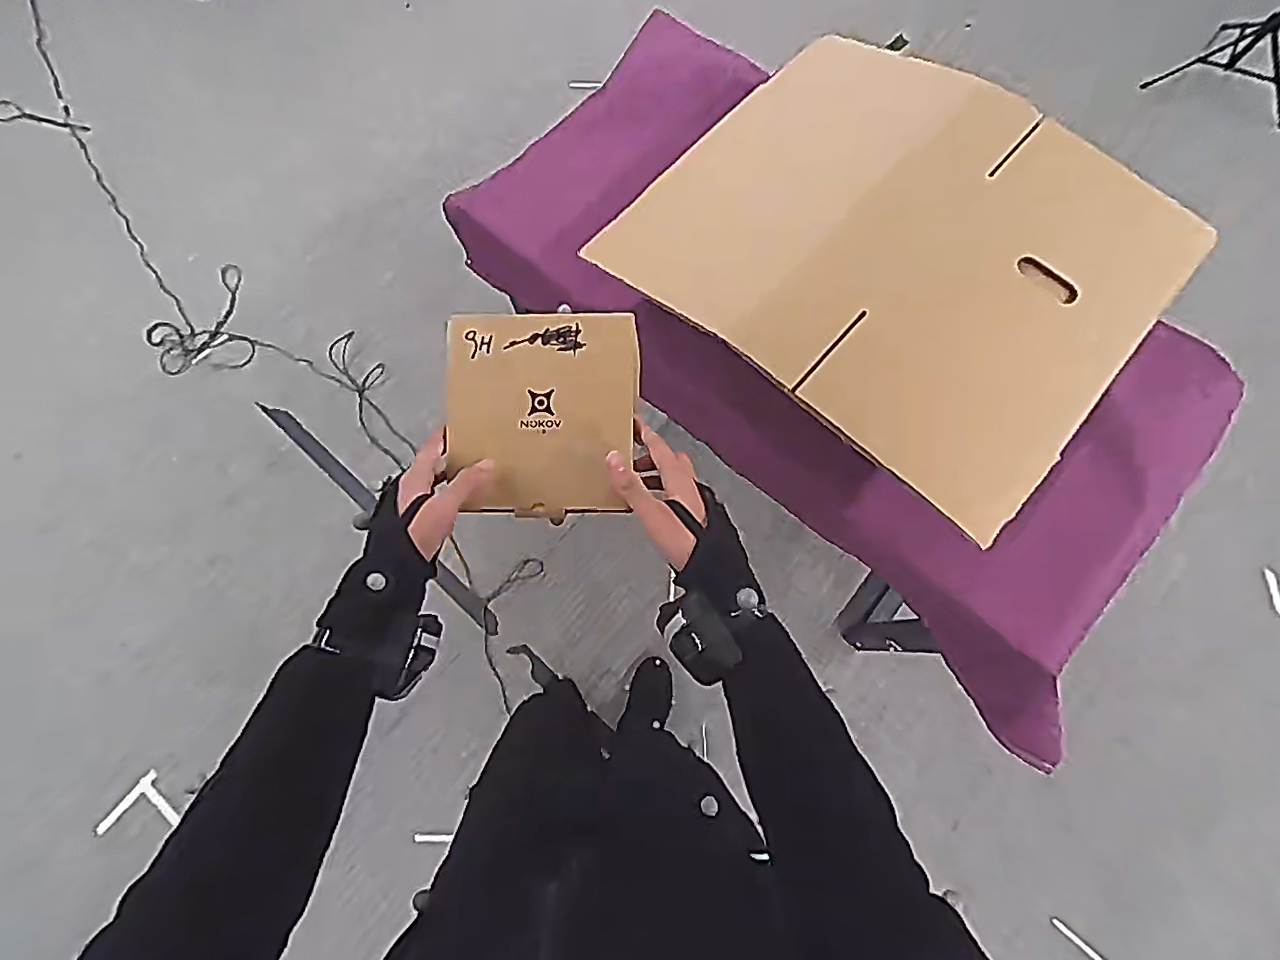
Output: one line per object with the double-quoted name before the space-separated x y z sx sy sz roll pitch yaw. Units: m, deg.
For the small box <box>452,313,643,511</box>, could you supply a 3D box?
"small box" -0.082 -0.062 0.559 0.168 0.176 0.179 0 90 2
